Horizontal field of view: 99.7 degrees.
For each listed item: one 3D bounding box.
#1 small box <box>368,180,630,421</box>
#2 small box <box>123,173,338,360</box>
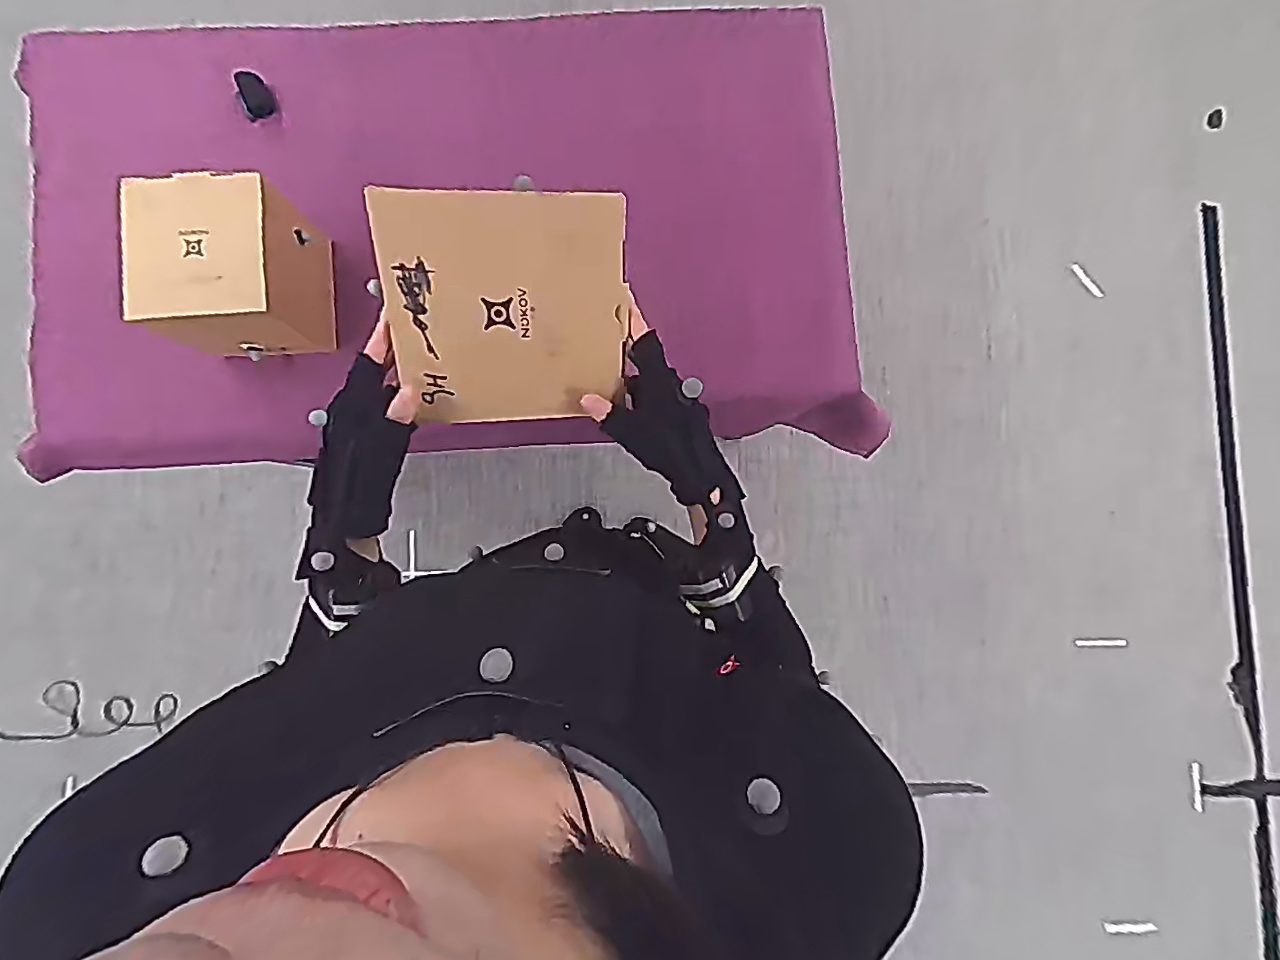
[{"bbox_3d":[-0.110,-0.158,0.468,0.179,0.176,0.168,-4,115,-11],"label":"small box"},{"bbox_3d":[-0.529,-0.273,0.721,0.168,0.176,0.179,-5,87,-3],"label":"small box"}]
